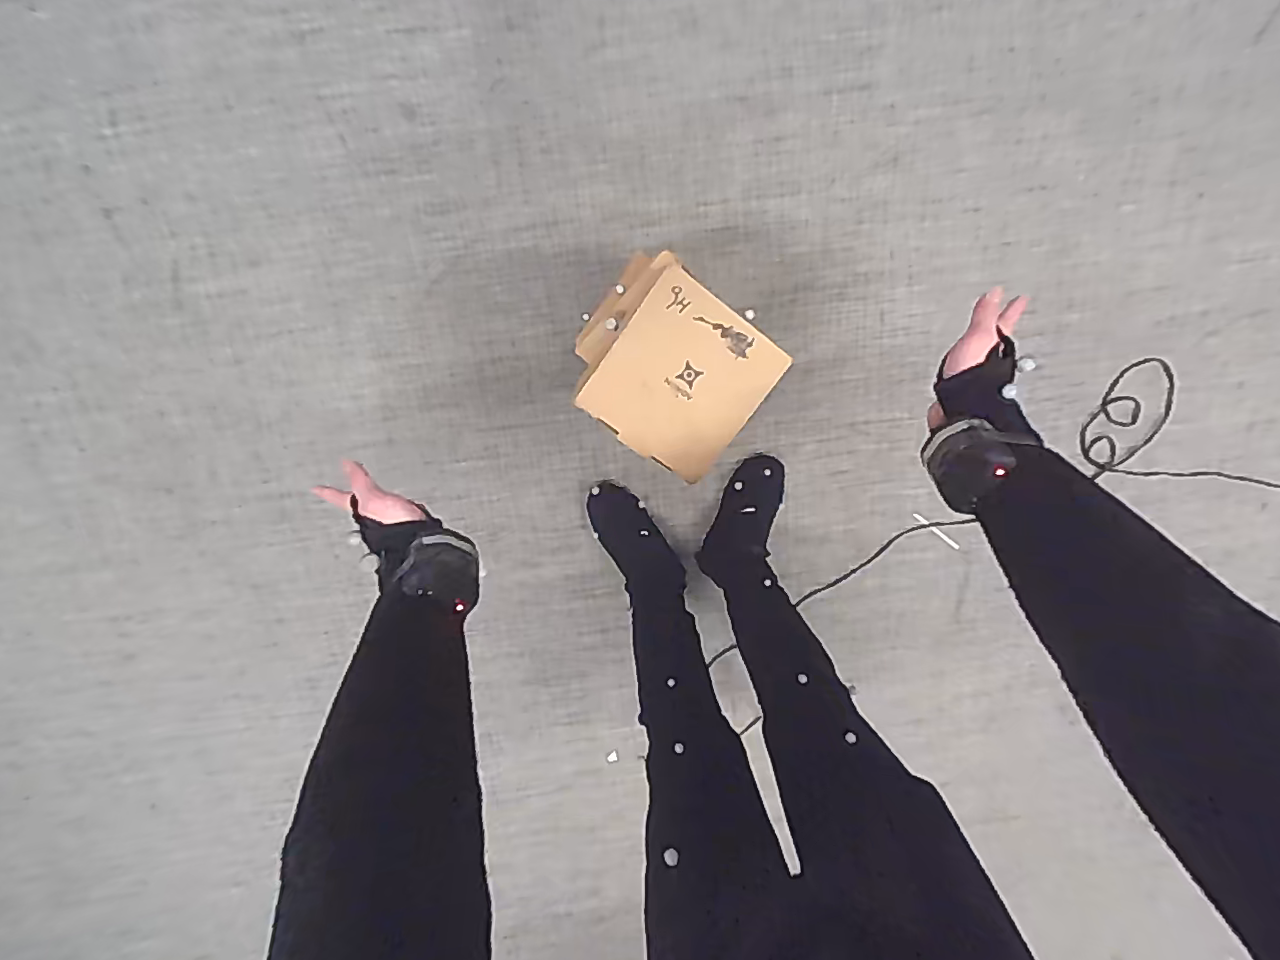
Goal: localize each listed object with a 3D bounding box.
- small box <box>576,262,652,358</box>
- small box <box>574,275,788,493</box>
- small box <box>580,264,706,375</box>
[{"bbox_3d":[0.006,-0.250,0.951,0.168,0.176,0.179,34,101,-13],"label":"small box"},{"bbox_3d":[0.042,-0.119,0.651,0.168,0.176,0.179,35,103,-13],"label":"small box"},{"bbox_3d":[0.028,-0.191,0.798,0.168,0.176,0.179,42,102,-14],"label":"small box"}]
